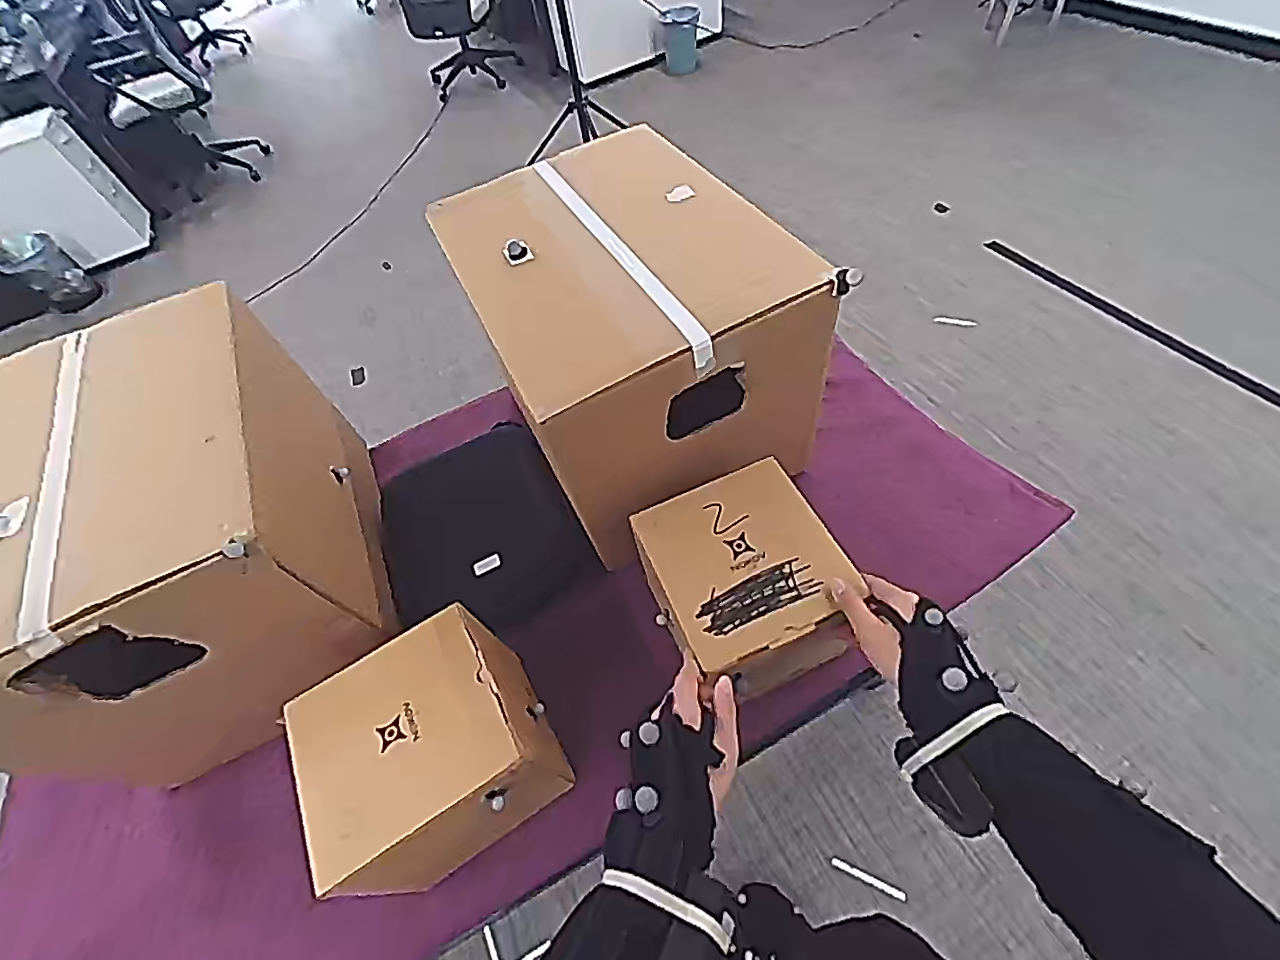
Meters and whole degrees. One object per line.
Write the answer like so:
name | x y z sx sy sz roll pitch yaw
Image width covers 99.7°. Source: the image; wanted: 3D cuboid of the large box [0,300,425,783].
large box | -0.510 0.071 0.637 0.320 0.320 0.408 -28 58 -10
